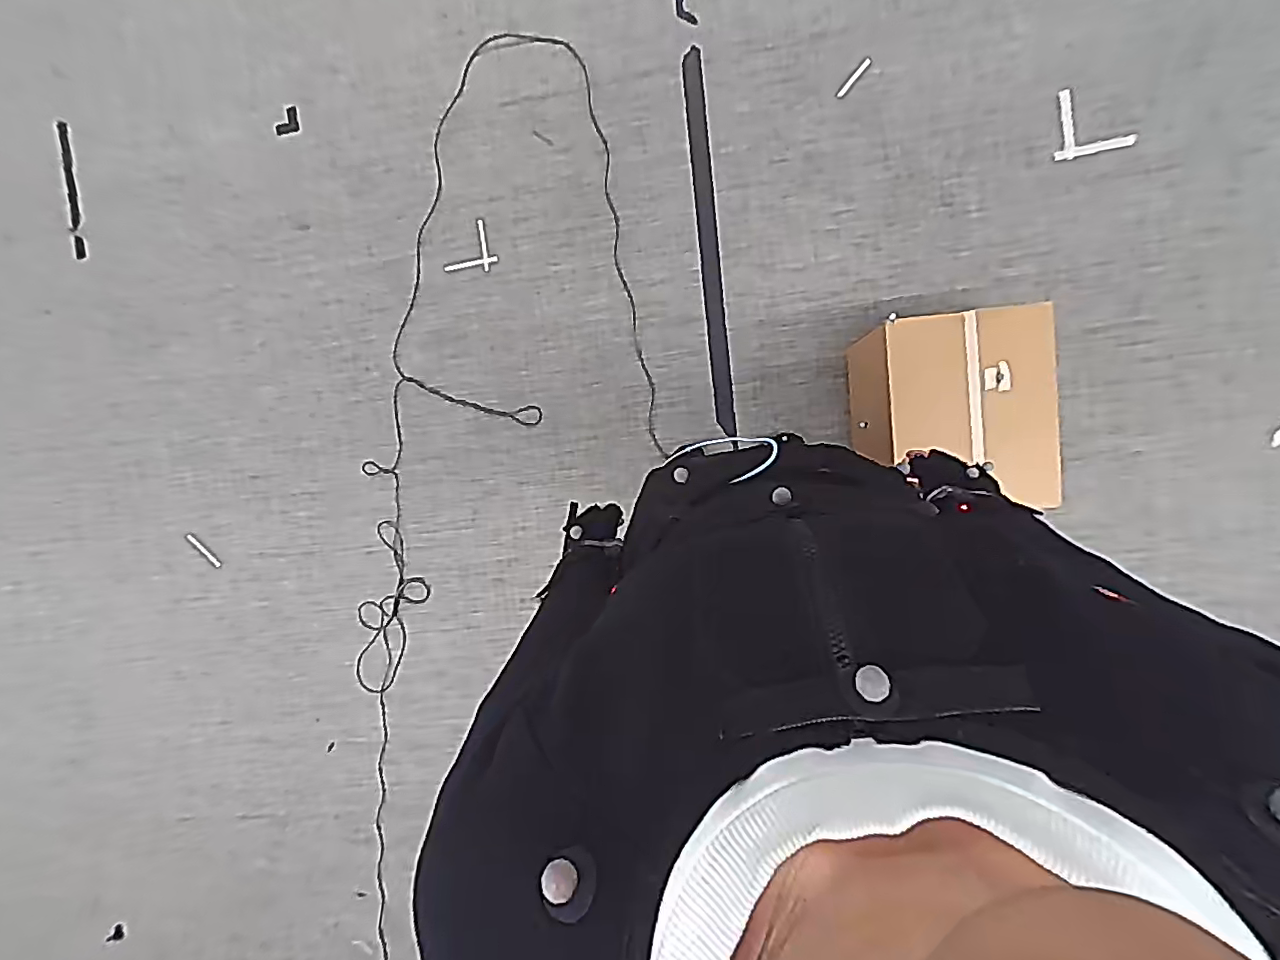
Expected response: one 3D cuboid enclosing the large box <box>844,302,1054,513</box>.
[{"bbox_3d":[0.677,-0.148,1.242,0.320,0.320,0.408,-5,92,6],"label":"large box"}]
